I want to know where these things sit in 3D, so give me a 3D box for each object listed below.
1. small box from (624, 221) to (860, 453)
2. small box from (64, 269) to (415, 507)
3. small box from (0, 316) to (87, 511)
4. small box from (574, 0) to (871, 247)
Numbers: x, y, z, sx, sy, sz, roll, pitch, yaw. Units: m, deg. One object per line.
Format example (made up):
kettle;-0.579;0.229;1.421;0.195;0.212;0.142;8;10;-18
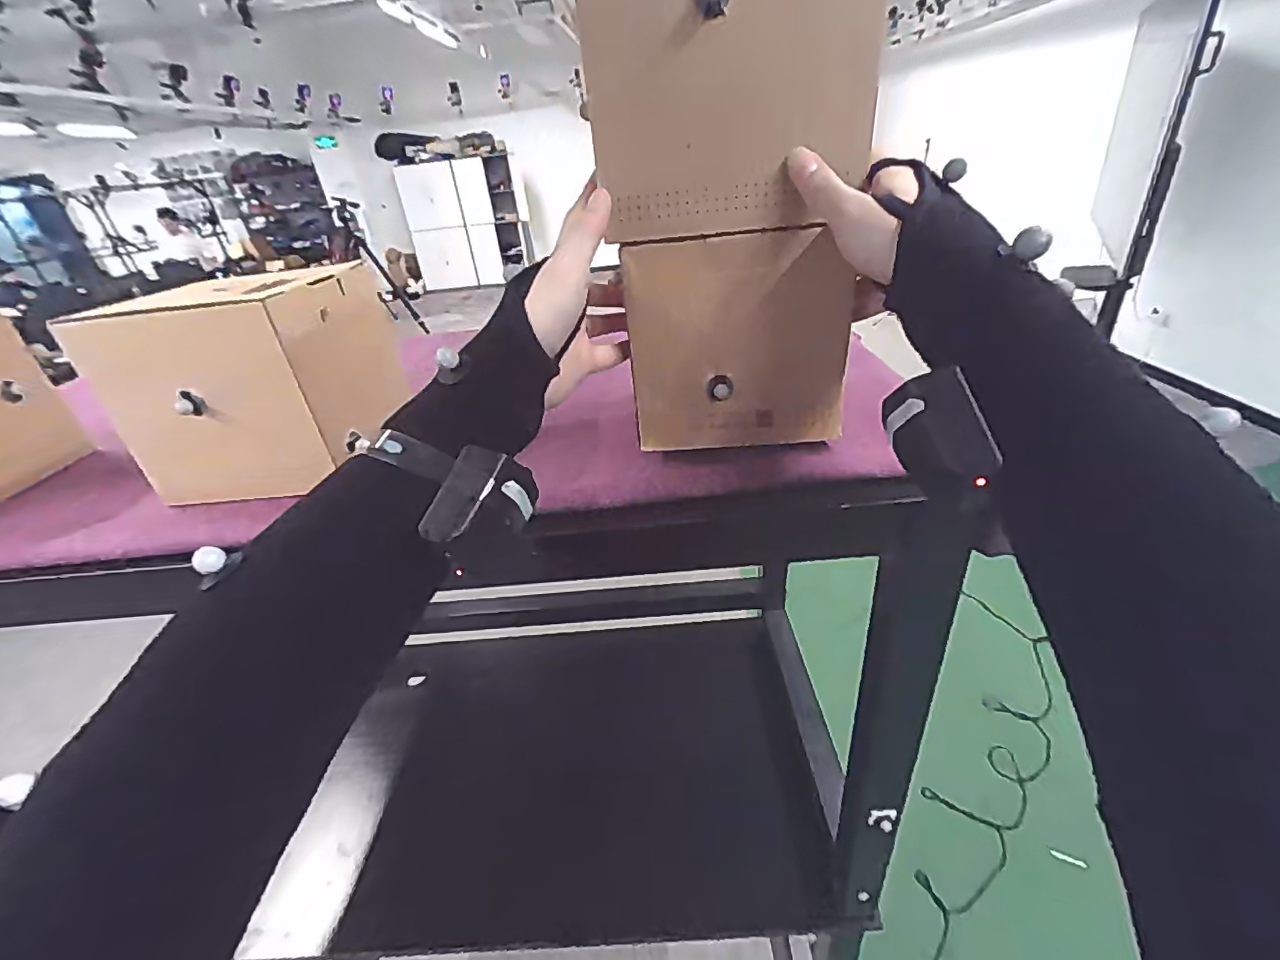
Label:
small box;0.079;-0.138;0.485;0.168;0.176;0.179;-3;33;5
small box;-0.344;-0.089;0.513;0.179;0.176;0.168;-5;29;5
small box;-0.710;-0.049;0.523;0.168;0.176;0.179;-6;30;2
small box;0.056;-0.274;0.392;0.179;0.176;0.168;-4;32;5
